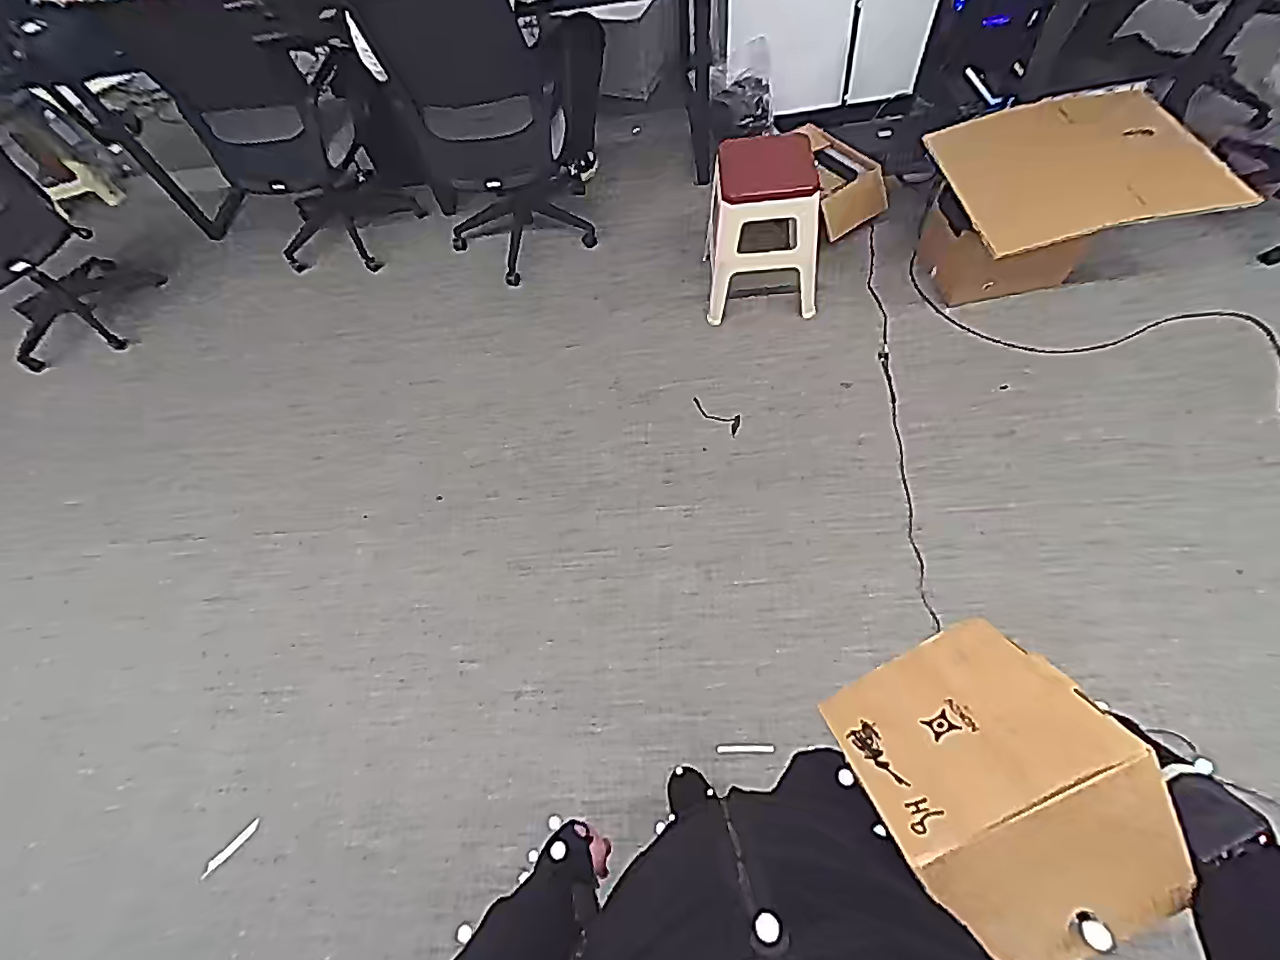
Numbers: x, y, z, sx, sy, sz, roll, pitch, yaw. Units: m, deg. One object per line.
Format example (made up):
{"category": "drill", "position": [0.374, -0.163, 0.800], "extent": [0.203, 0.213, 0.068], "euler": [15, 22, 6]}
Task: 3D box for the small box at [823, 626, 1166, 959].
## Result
{"category": "small box", "position": [0.297, 0.269, 0.471], "extent": [0.179, 0.168, 0.176], "euler": [-30, 106, 4]}
